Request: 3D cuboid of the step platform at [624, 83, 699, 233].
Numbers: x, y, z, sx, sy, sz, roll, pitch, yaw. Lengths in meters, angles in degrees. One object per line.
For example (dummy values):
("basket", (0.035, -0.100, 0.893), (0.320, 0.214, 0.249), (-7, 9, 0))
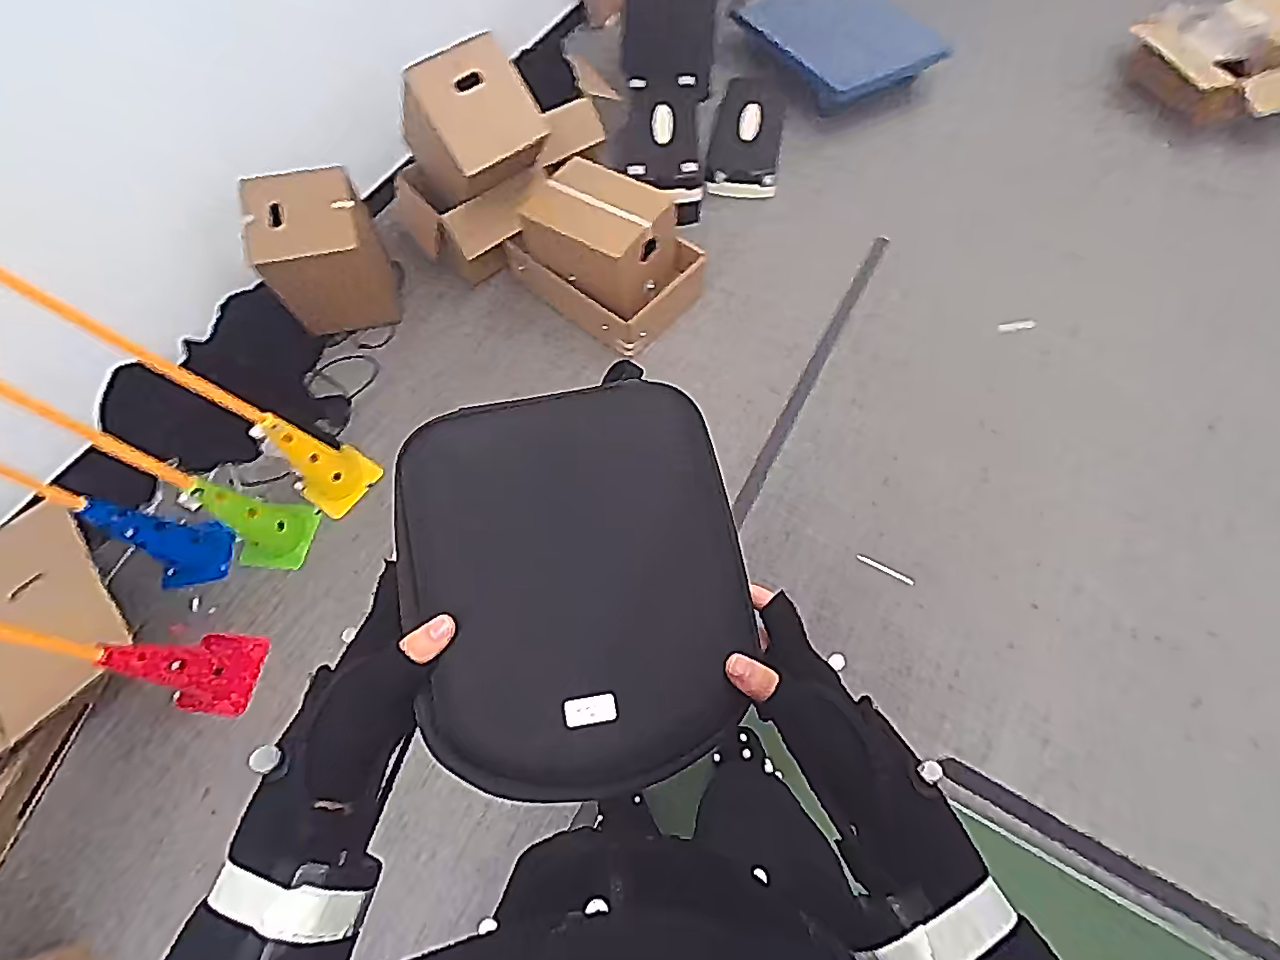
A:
("step platform", (0.084, -1.318, 2.182), (0.286, 0.204, 0.684), (-1, 64, 3))
